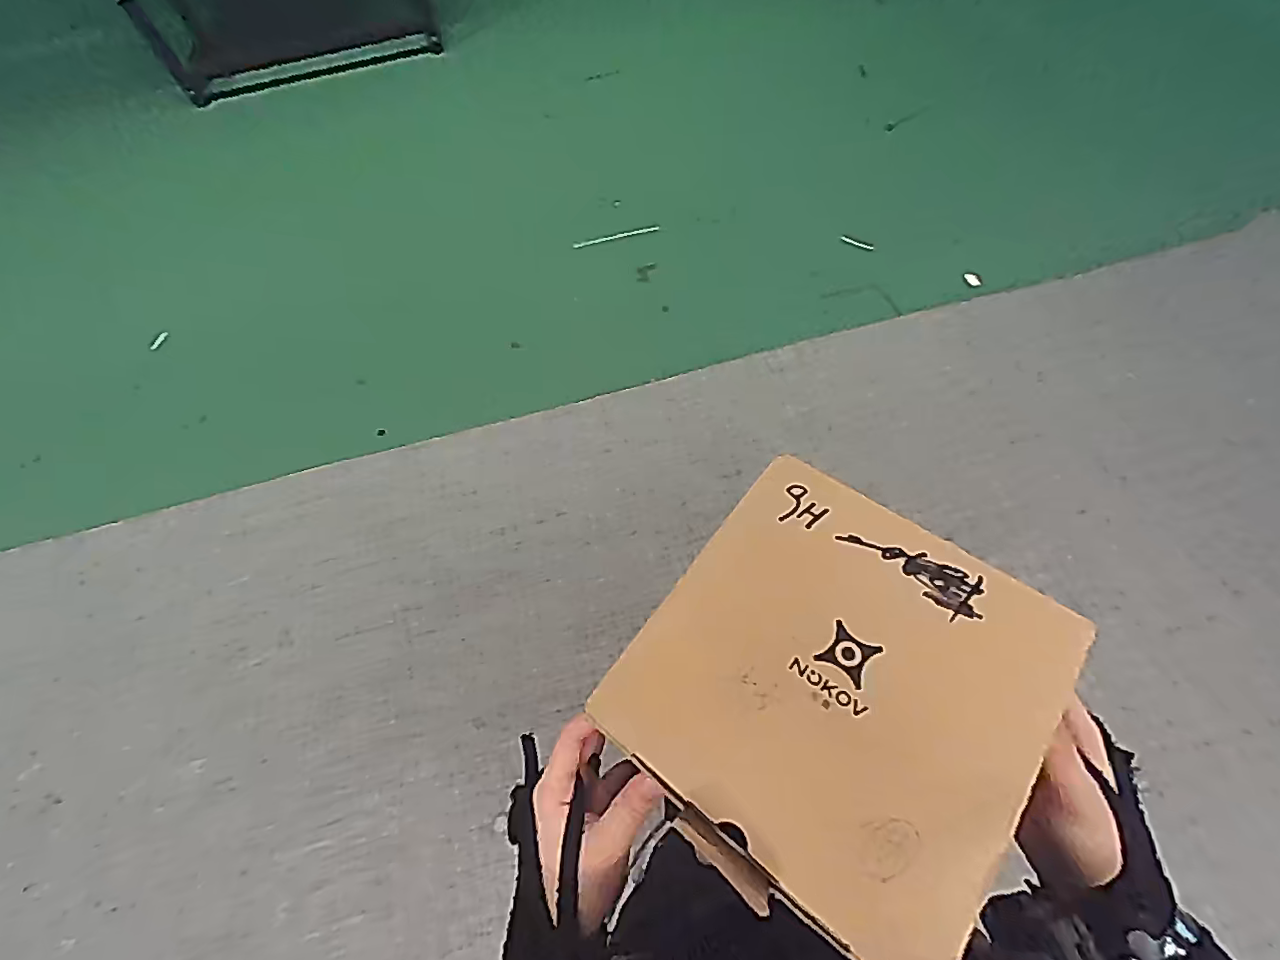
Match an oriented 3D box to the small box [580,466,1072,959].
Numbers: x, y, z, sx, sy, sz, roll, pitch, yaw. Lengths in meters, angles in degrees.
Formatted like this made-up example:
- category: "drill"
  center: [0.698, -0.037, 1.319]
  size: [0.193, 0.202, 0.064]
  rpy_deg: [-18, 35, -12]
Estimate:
- category: "small box"
  center: [0.095, 0.131, 0.322]
  size: [0.168, 0.176, 0.179]
  rpy_deg: [32, 70, 22]
